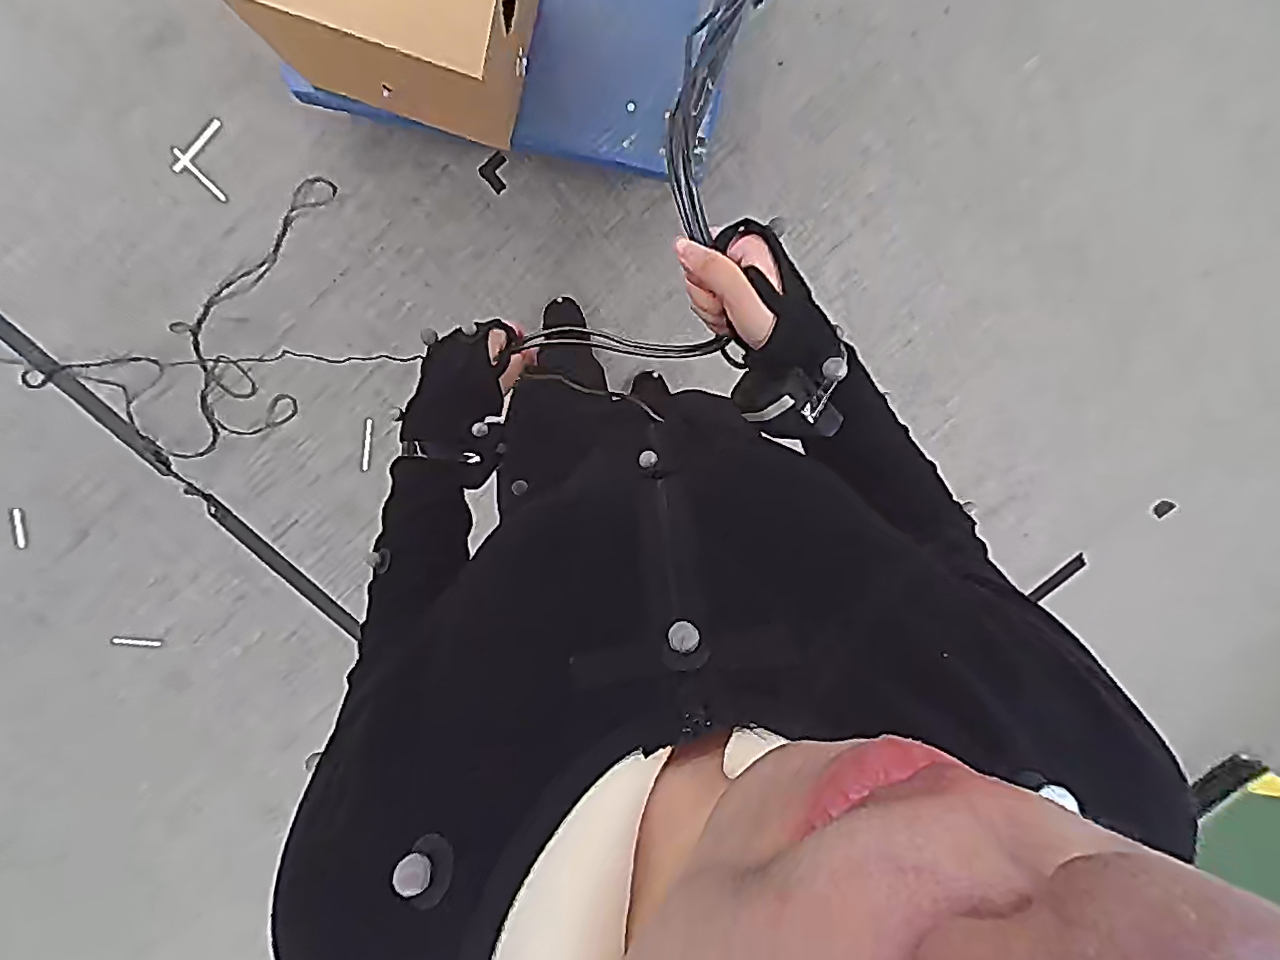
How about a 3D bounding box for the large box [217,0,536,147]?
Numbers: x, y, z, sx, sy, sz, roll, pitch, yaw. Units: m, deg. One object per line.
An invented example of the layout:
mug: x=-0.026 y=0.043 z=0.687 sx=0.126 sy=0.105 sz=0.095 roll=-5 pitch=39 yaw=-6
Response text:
large box: x=-0.411 y=-0.836 z=0.918 sx=0.408 sy=0.320 sz=0.320 roll=14 pitch=101 yaw=-8
